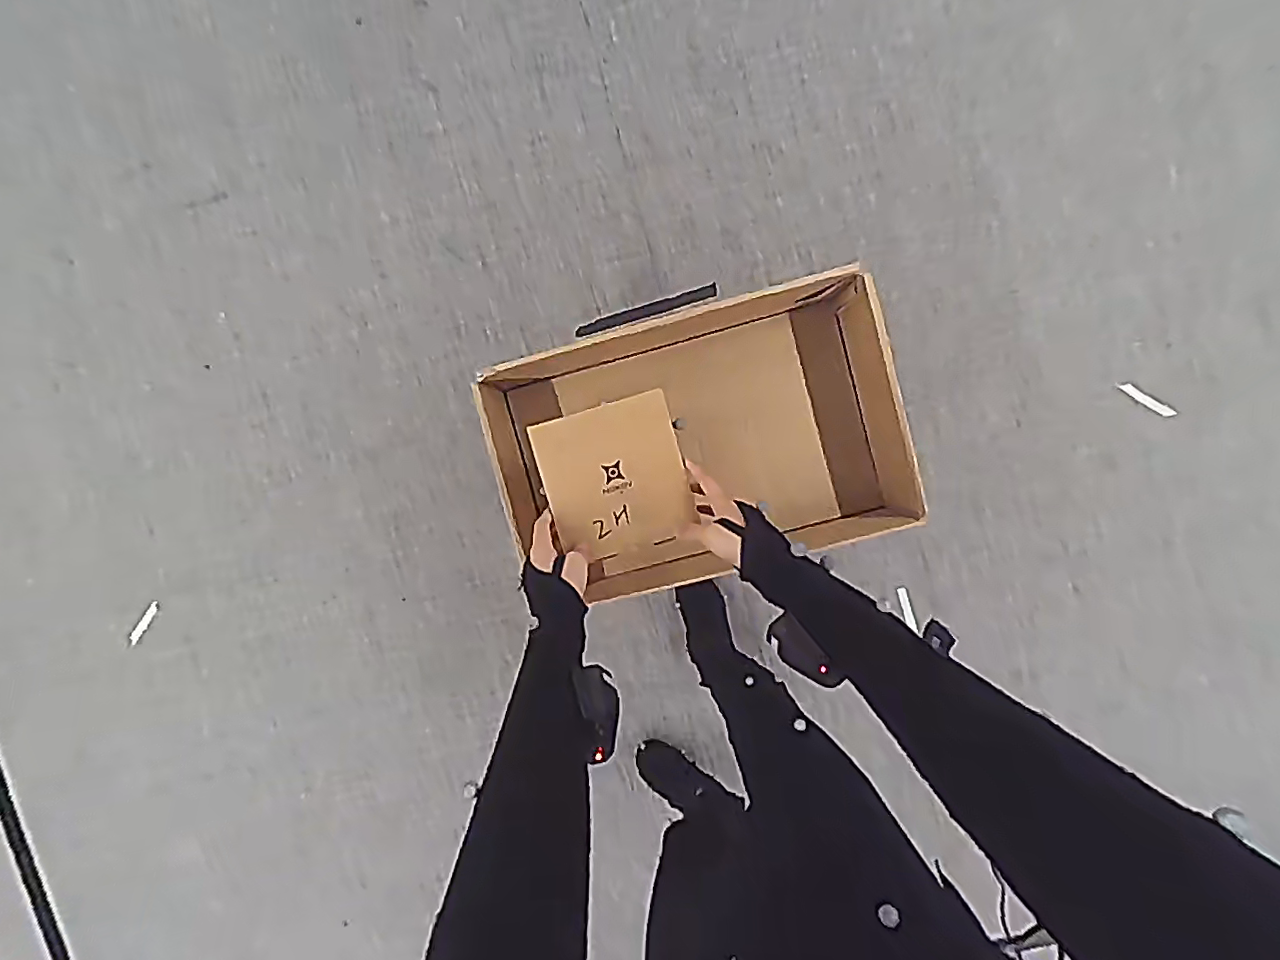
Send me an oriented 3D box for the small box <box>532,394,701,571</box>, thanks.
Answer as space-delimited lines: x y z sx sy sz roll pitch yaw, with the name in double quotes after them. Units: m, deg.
-0.026 0.000 0.709 0.168 0.176 0.179 -16 93 3 "small box"
